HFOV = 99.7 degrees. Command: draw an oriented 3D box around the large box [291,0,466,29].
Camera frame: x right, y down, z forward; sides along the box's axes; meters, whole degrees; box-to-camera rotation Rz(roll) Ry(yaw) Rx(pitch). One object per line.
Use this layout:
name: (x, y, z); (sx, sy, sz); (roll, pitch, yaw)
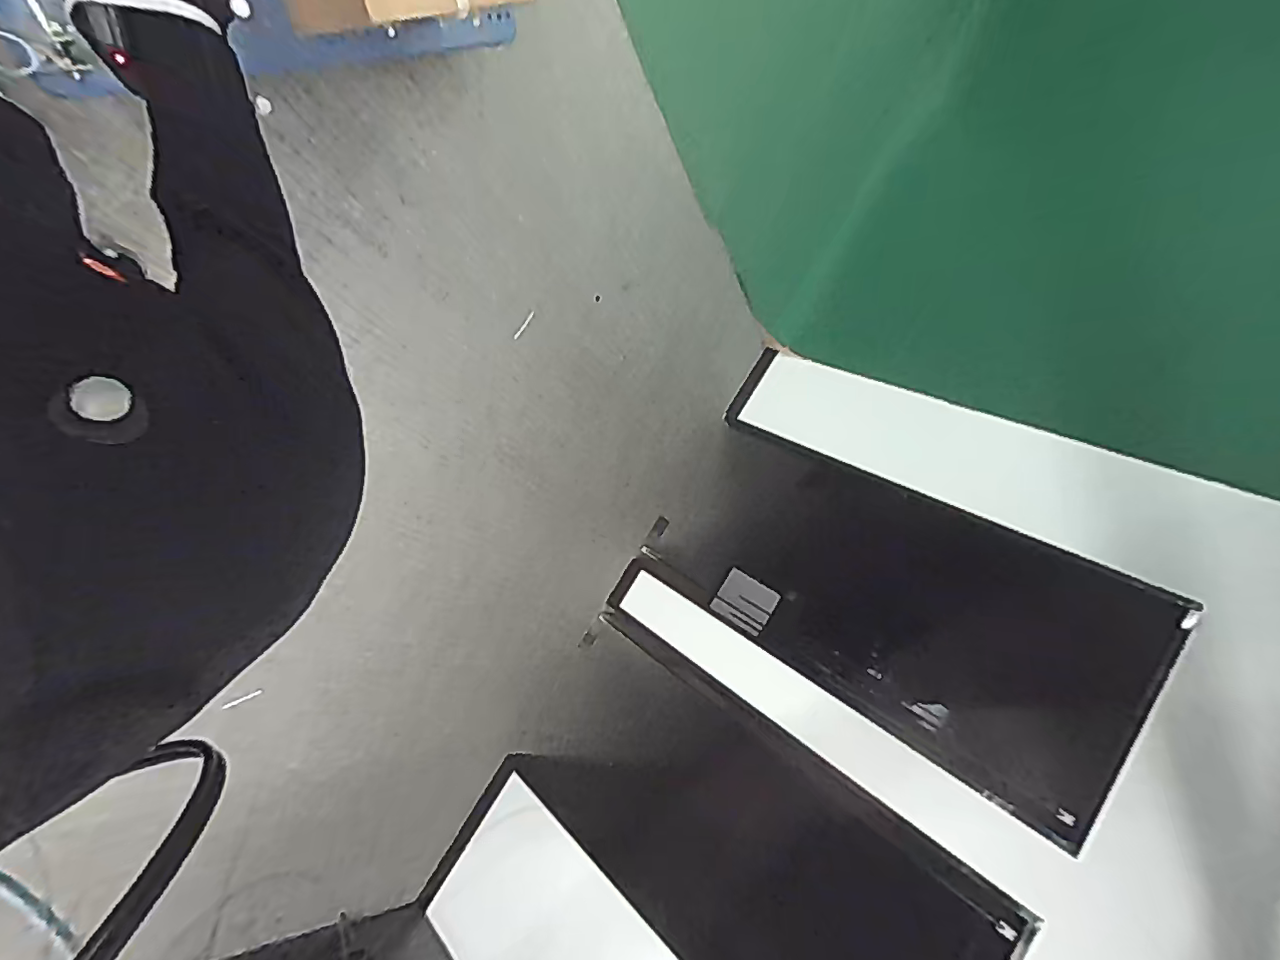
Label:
large box: (-0.422, -0.975, 0.818); (0.320, 0.320, 0.408); (-39, 139, -29)
